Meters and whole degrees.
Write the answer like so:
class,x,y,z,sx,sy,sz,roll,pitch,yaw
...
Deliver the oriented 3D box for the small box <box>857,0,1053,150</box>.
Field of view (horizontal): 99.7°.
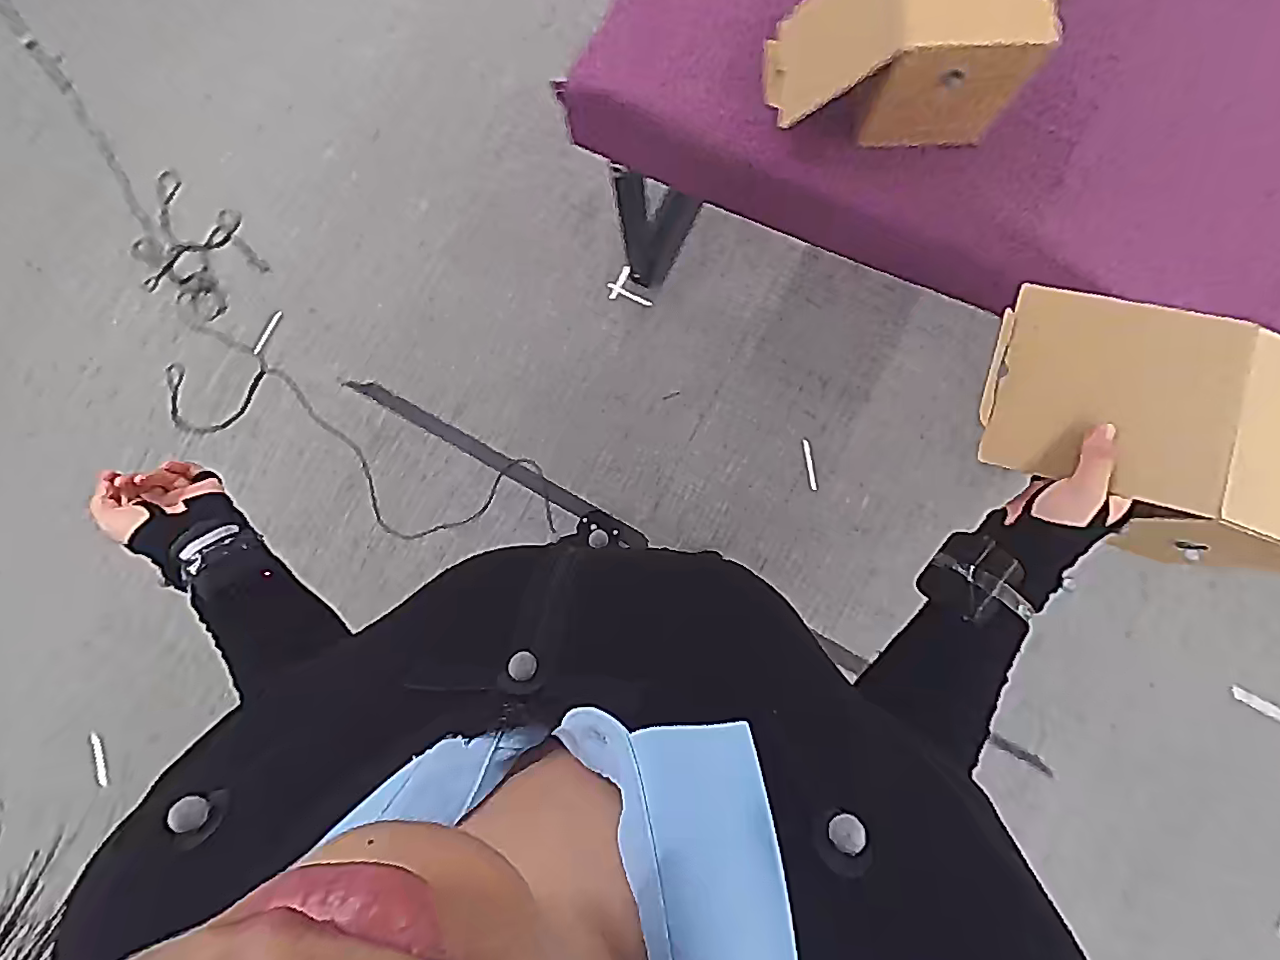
class,x,y,z,sx,sy,sz,roll,pitch,yaw
small box,0.399,-0.569,0.718,0.179,0.176,0.168,1,85,3
